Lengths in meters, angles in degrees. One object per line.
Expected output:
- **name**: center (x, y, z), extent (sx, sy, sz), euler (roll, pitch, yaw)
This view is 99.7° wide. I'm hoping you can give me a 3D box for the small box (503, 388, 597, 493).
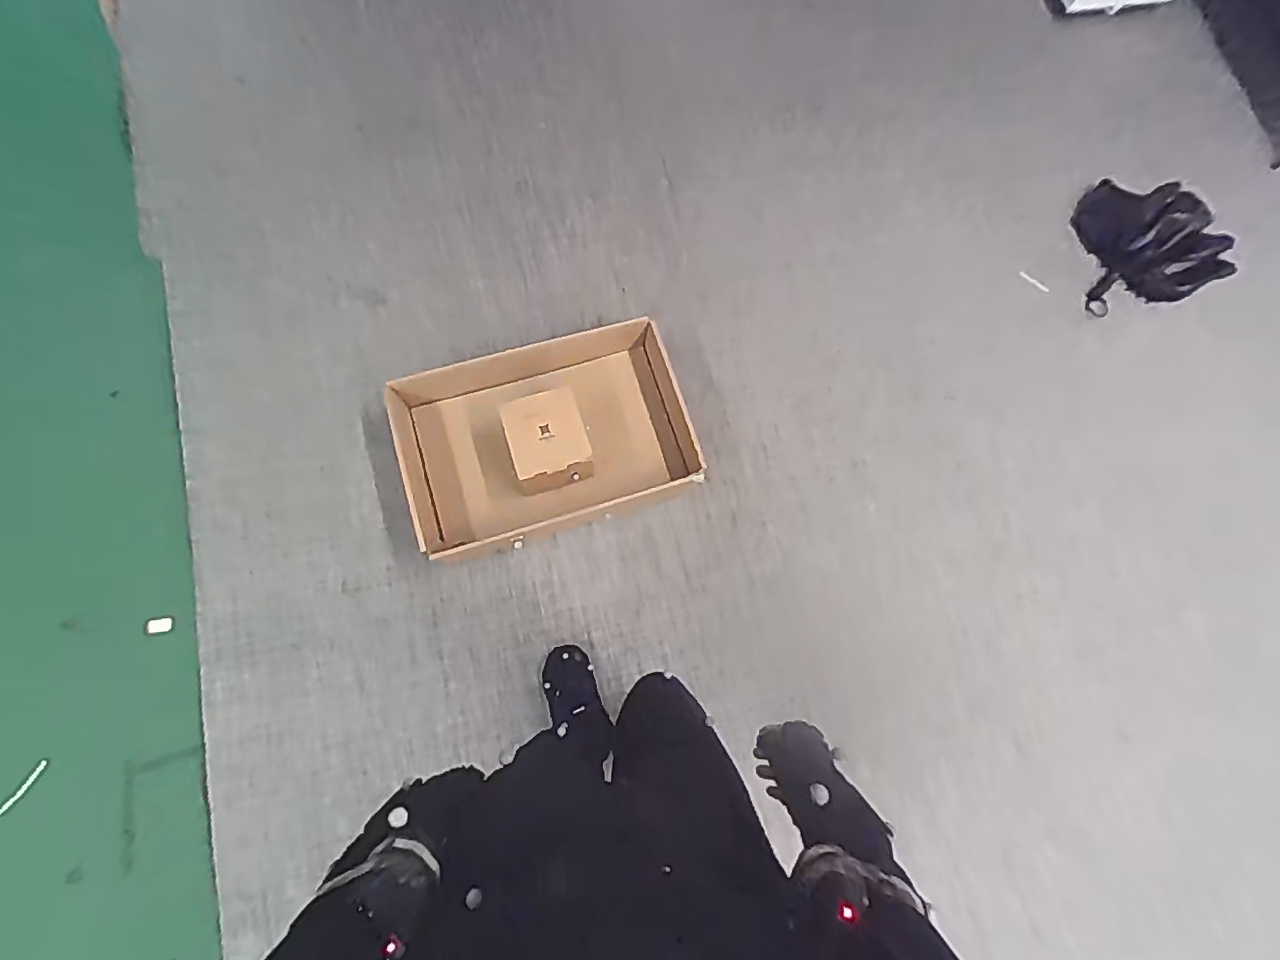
- **small box**: center (-0.196, -0.080, 1.223), extent (0.168, 0.176, 0.179), euler (-17, 78, -9)
